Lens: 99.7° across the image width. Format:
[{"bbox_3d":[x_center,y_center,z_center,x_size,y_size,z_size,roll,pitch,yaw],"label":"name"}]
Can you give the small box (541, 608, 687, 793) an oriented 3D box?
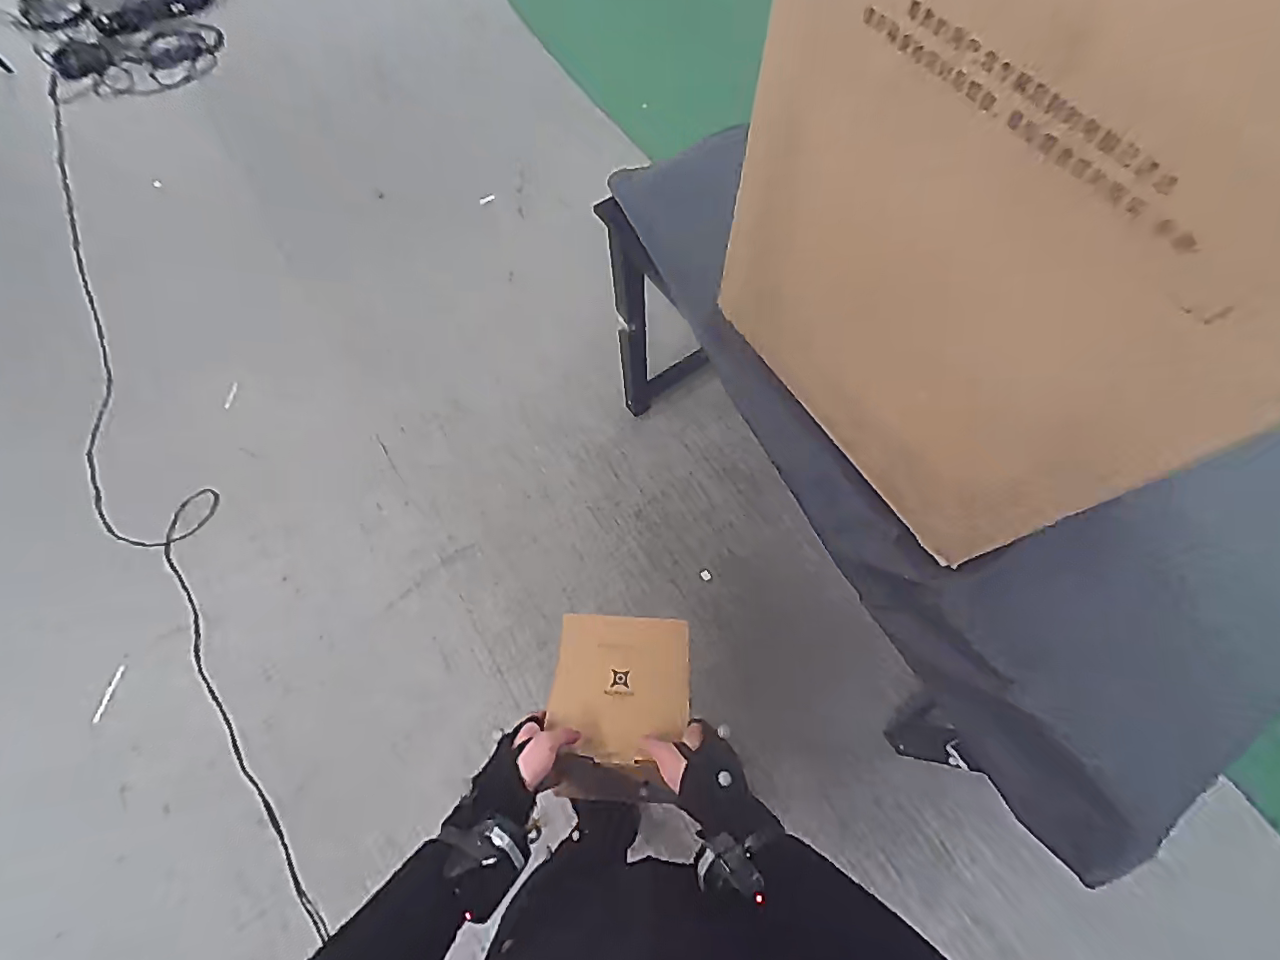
[{"bbox_3d":[-0.026,0.291,0.708,0.168,0.176,0.179,4,45,0],"label":"small box"}]
